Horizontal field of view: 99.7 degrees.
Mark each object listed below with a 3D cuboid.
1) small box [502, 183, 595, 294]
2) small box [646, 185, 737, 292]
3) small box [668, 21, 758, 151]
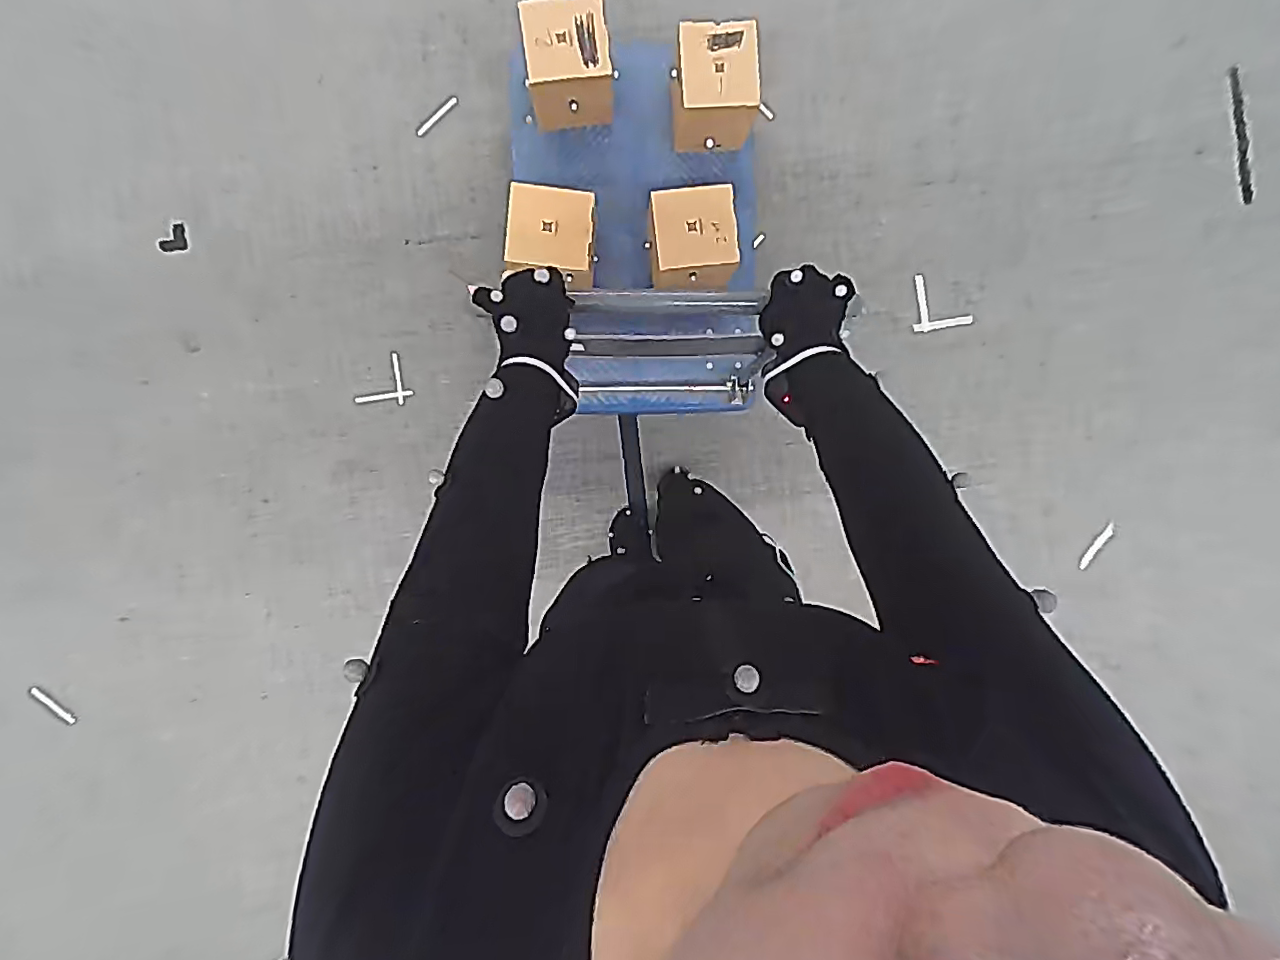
[{"bbox_3d":[-0.196,-0.522,1.194,0.179,0.176,0.168,5,91,-4],"label":"small box"},{"bbox_3d":[0.107,-0.530,1.208,0.179,0.176,0.168,-6,92,-3],"label":"small box"},{"bbox_3d":[0.156,-0.866,1.201,0.168,0.176,0.179,-4,93,-3],"label":"small box"}]
